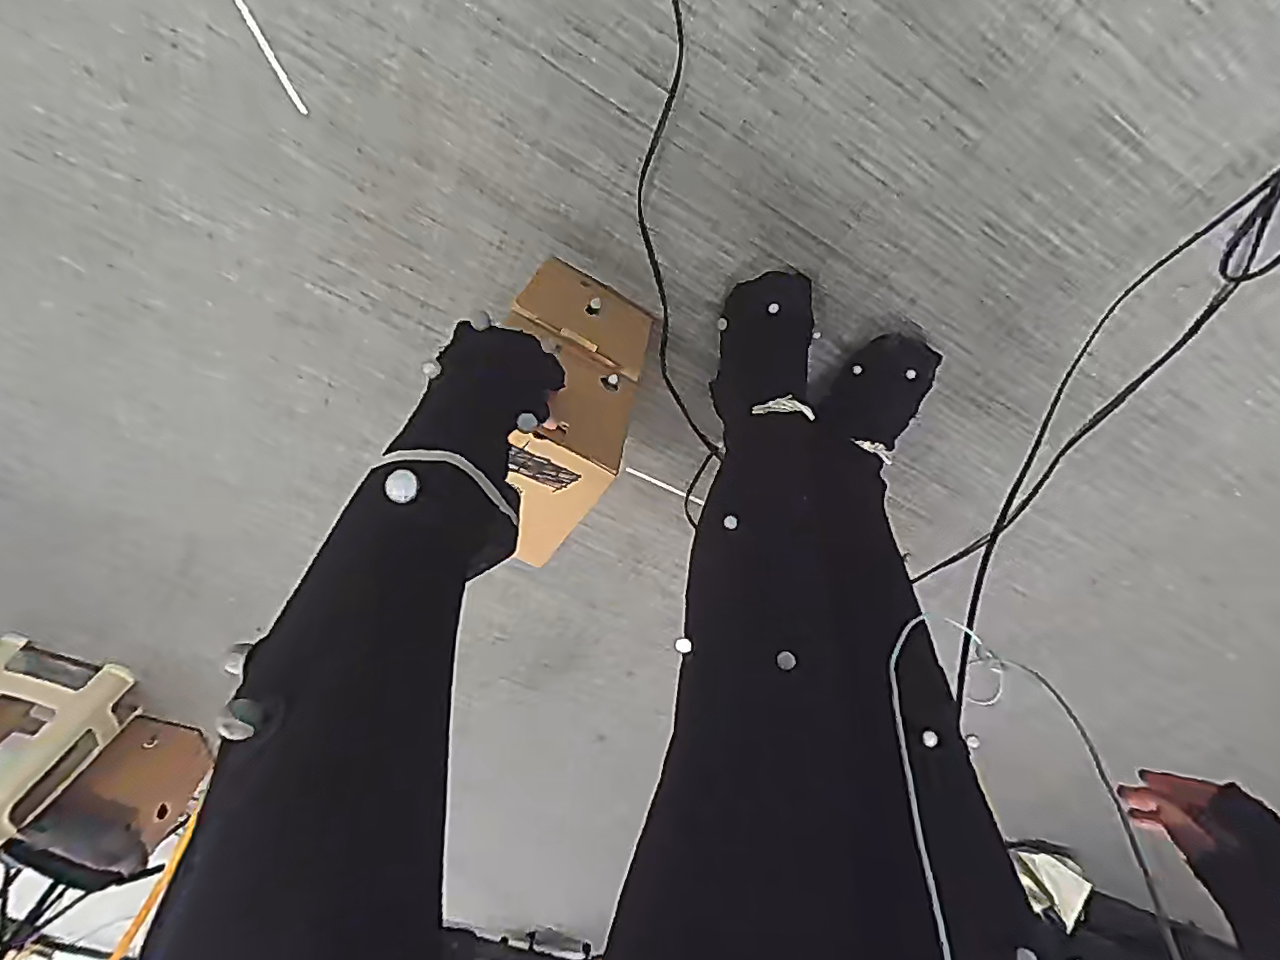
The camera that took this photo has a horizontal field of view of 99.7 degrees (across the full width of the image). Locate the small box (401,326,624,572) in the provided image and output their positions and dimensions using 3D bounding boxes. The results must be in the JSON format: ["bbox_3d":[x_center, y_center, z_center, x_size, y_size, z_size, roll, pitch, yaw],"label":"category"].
[{"bbox_3d":[-0.130,-0.036,0.597,0.168,0.176,0.179,29,129,-17],"label":"small box"}]

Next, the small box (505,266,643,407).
[{"bbox_3d":[-0.107,-0.149,0.715,0.168,0.176,0.179,28,128,-16],"label":"small box"}]
